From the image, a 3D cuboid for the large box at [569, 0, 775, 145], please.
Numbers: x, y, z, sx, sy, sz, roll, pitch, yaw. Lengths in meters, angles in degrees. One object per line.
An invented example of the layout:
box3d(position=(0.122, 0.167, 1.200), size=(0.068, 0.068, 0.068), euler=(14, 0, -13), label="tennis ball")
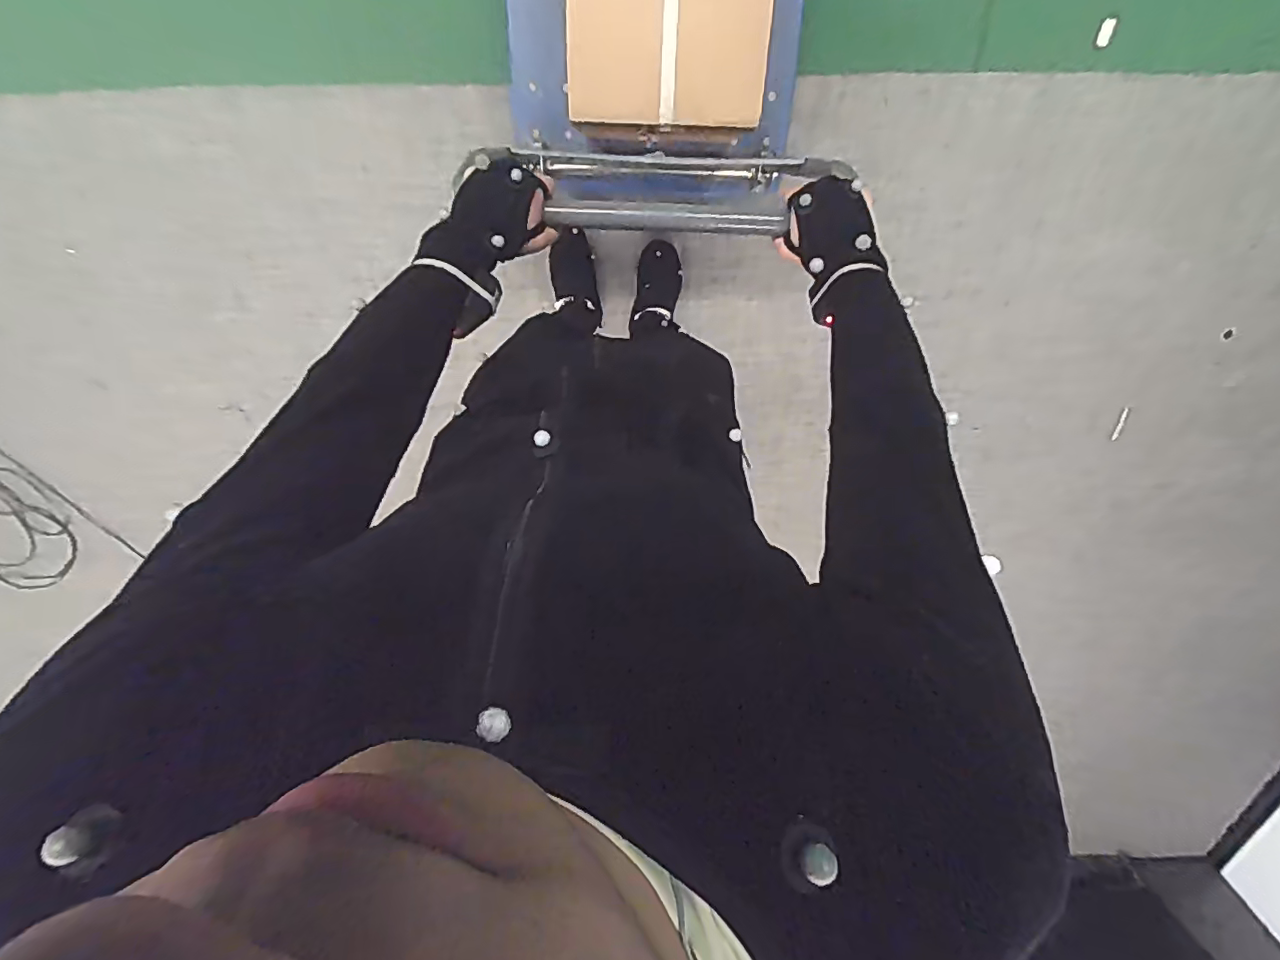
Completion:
box3d(position=(0.051, -0.821, 0.925), size=(0.320, 0.320, 0.408), euler=(2, 118, -2), label="large box")
